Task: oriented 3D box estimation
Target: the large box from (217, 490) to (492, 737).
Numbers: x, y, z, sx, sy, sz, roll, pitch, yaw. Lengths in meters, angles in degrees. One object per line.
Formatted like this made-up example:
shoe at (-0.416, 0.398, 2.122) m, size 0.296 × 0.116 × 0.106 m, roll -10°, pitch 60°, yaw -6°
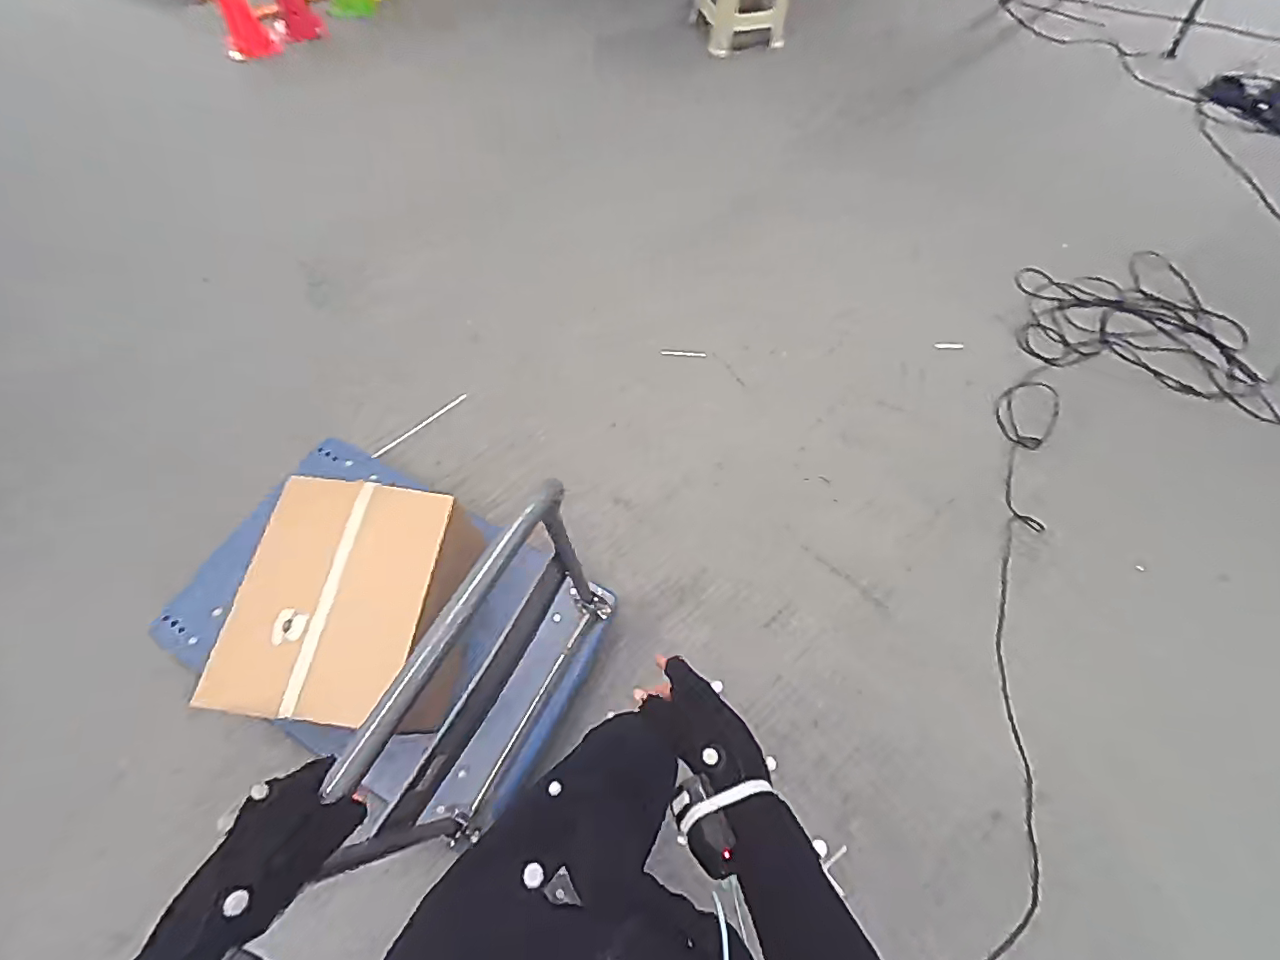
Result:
large box at (-0.510, 0.271, 1.072) m, size 0.320 × 0.320 × 0.408 m, roll 6°, pitch 66°, yaw 2°
